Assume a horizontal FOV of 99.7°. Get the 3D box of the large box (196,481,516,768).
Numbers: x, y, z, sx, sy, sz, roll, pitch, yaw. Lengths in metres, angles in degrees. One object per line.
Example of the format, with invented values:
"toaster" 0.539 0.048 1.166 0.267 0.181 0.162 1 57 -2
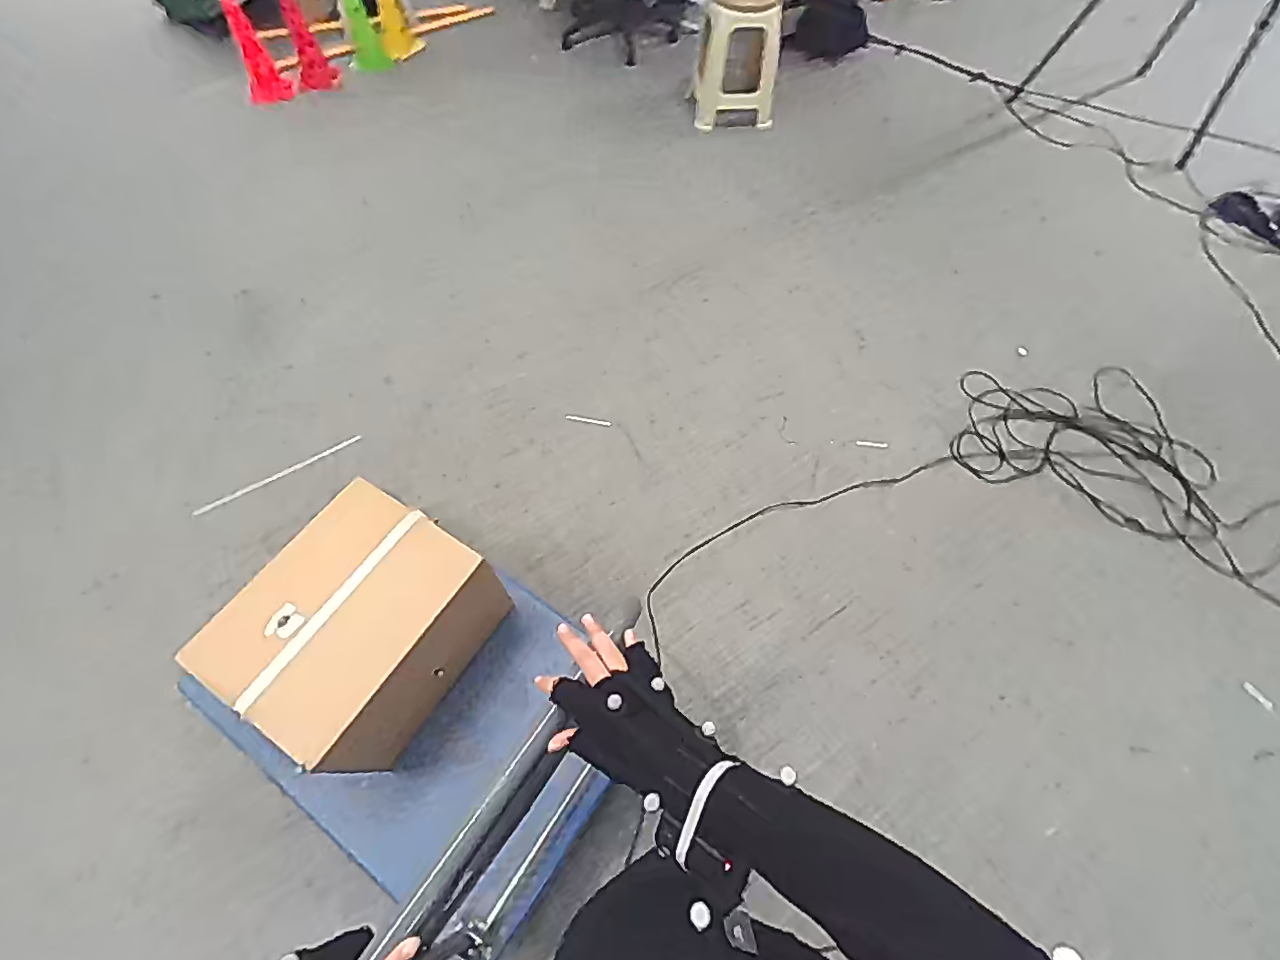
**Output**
"large box" -0.506 0.286 1.066 0.320 0.320 0.408 28 66 14
